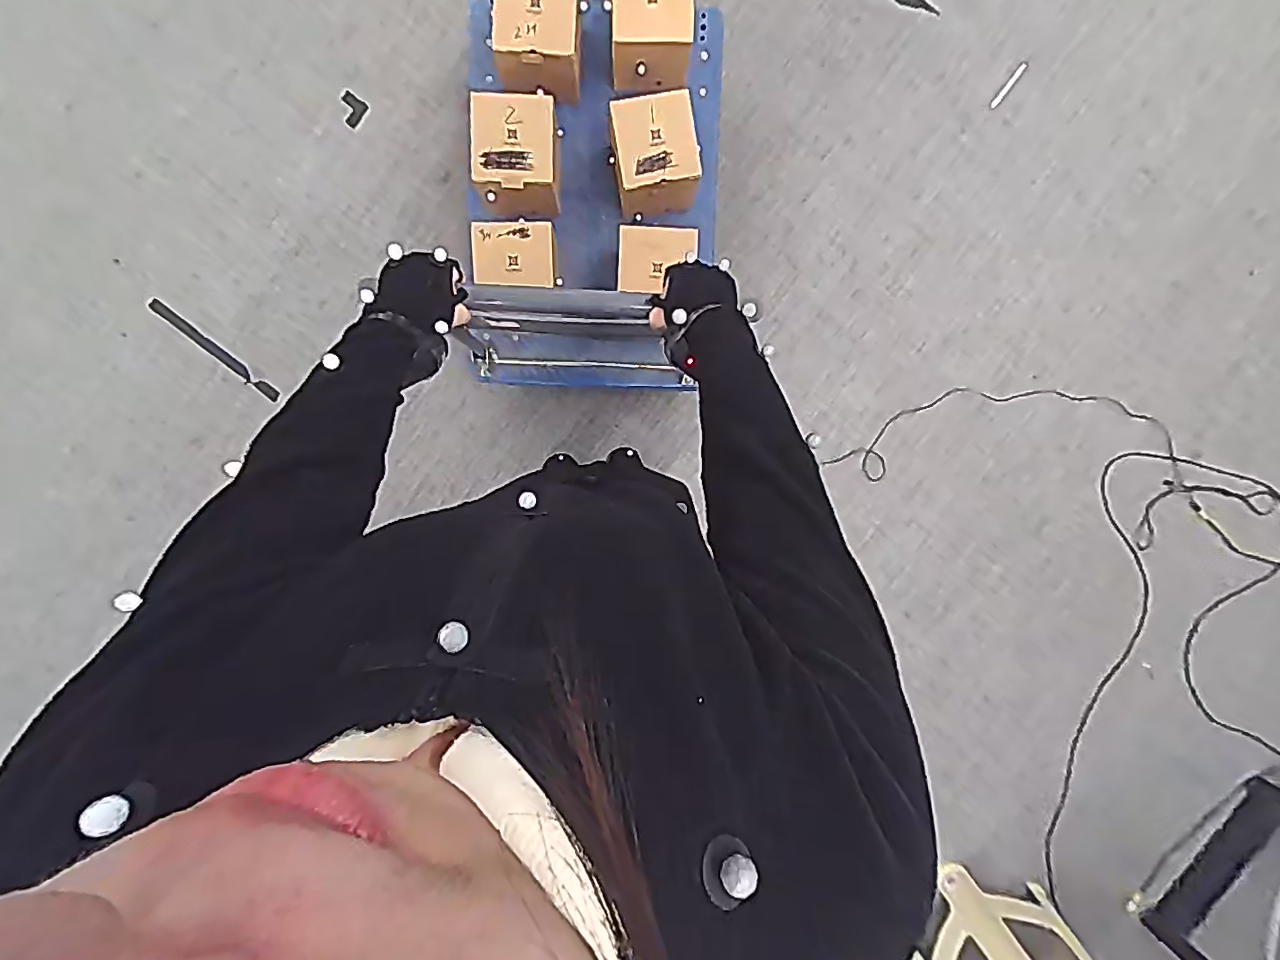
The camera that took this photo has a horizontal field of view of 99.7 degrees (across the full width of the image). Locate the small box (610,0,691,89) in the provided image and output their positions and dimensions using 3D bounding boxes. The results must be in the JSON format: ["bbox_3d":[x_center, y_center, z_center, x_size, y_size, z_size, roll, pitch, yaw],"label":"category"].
[{"bbox_3d":[0.020,-0.976,1.160,0.168,0.176,0.179,-1,95,-2],"label":"small box"}]

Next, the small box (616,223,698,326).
[{"bbox_3d":[0.033,-0.448,1.207,0.168,0.176,0.179,2,94,-3],"label":"small box"}]

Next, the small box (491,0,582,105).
[{"bbox_3d":[-0.213,-0.946,1.151,0.168,0.176,0.179,3,96,-2],"label":"small box"}]
